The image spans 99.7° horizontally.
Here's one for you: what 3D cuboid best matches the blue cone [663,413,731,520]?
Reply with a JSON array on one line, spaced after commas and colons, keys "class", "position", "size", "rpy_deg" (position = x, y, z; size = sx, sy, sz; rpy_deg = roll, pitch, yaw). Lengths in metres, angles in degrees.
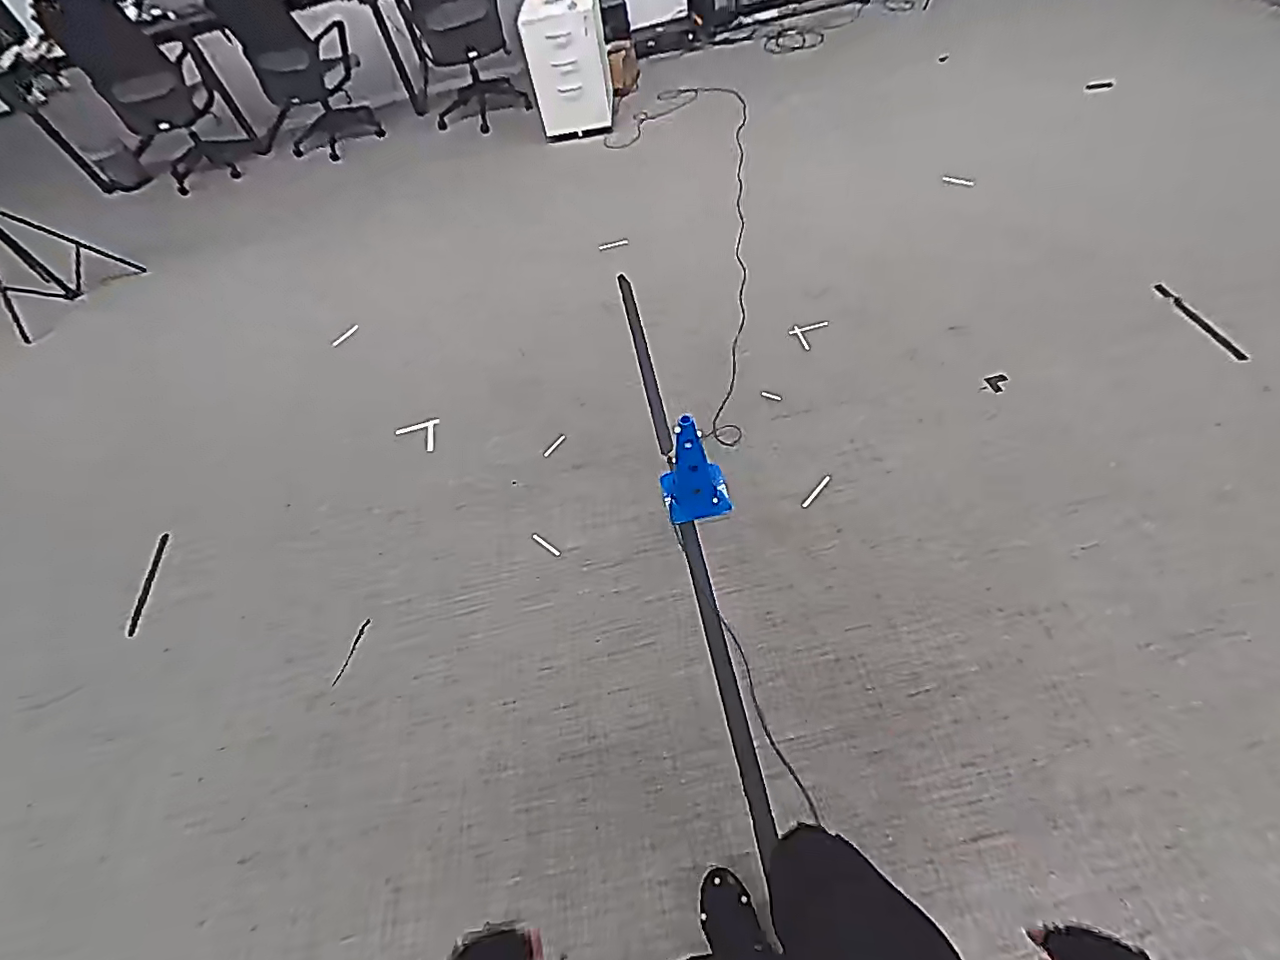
[{"class": "blue cone", "position": [0.153, -0.063, 1.580], "size": [0.193, 0.380, 0.192], "rpy_deg": [-14, 53, 0]}]
